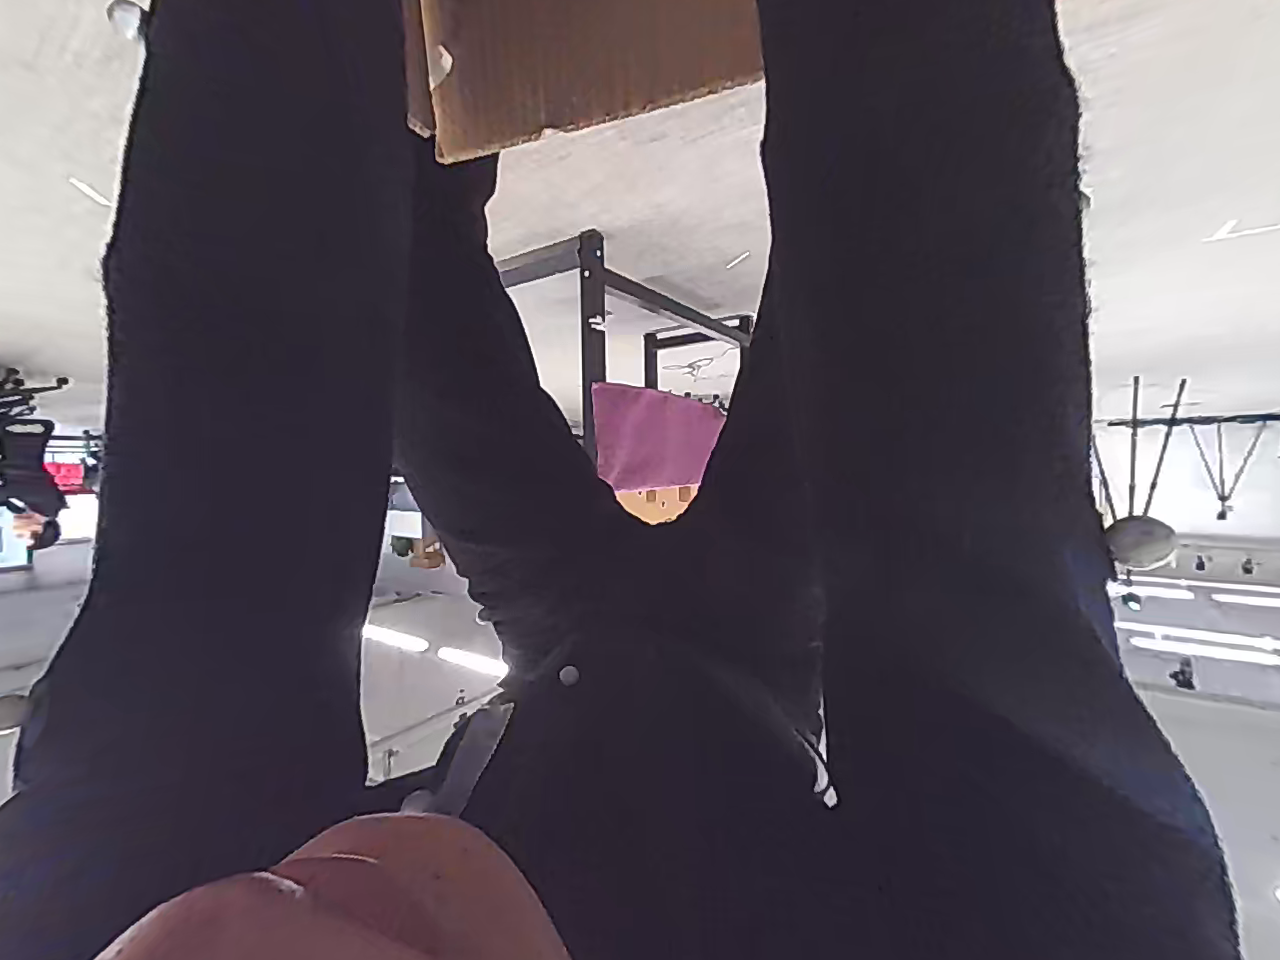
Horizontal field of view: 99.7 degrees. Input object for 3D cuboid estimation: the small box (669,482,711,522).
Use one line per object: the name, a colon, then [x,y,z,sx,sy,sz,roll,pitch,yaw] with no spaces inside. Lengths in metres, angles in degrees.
small box: [0.203,0.093,2.408,0.179,0.176,0.168,0,-178,38]

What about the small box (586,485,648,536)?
small box: [-0.089,0.108,1.999,0.179,0.176,0.168,1,-178,42]

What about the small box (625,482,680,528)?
small box: [0.048,0.098,2.211,0.179,0.176,0.168,1,-178,36]
